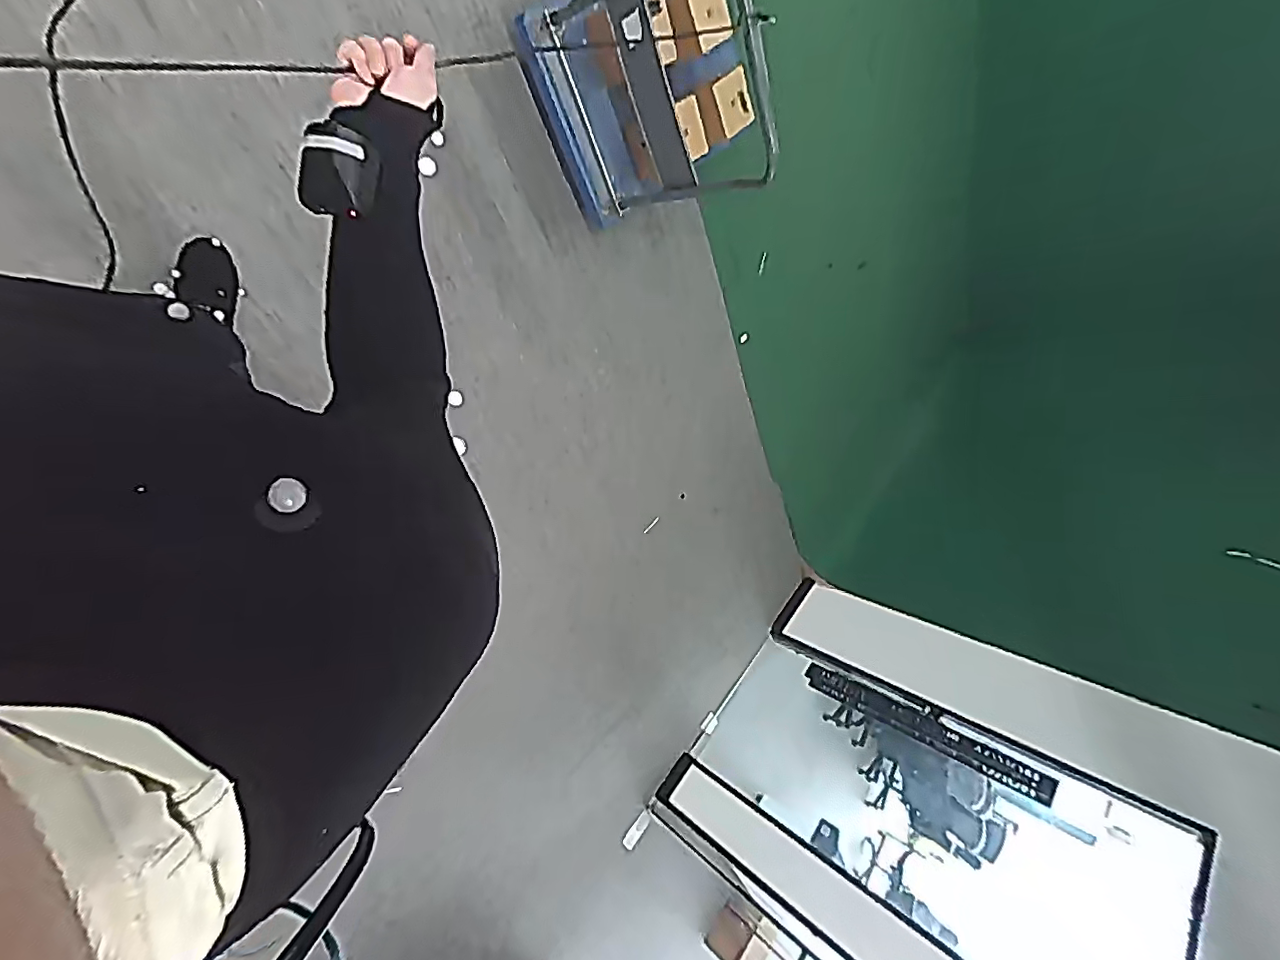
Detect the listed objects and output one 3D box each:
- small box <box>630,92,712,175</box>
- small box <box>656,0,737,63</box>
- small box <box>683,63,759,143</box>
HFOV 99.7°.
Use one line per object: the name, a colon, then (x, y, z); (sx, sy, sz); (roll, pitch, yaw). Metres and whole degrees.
small box: (0.099, -1.106, 1.735); (0.179, 0.176, 0.168); (-44, 129, -25)
small box: (0.170, -1.452, 1.696); (0.179, 0.176, 0.168); (-48, 131, -23)
small box: (0.272, -1.279, 1.848); (0.179, 0.176, 0.168); (-48, 130, -22)
